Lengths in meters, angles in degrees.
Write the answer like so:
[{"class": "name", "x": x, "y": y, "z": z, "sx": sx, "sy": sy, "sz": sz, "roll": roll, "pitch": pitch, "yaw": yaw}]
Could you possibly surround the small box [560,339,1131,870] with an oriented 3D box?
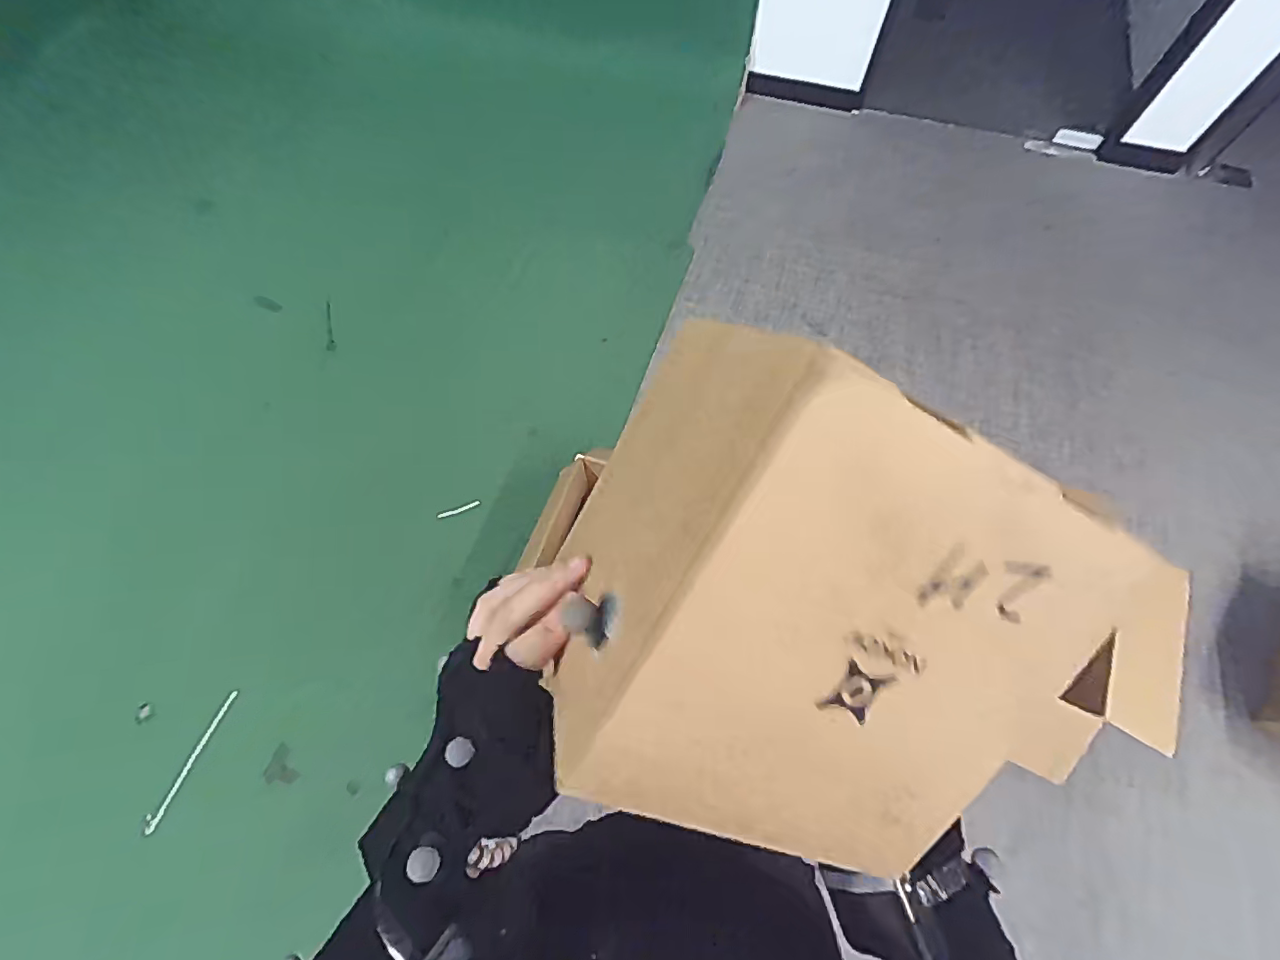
[{"class": "small box", "x": 0.069, "y": 0.047, "z": 0.280, "sx": 0.168, "sy": 0.176, "sz": 0.179, "roll": 25, "pitch": 104, "yaw": -19}]
